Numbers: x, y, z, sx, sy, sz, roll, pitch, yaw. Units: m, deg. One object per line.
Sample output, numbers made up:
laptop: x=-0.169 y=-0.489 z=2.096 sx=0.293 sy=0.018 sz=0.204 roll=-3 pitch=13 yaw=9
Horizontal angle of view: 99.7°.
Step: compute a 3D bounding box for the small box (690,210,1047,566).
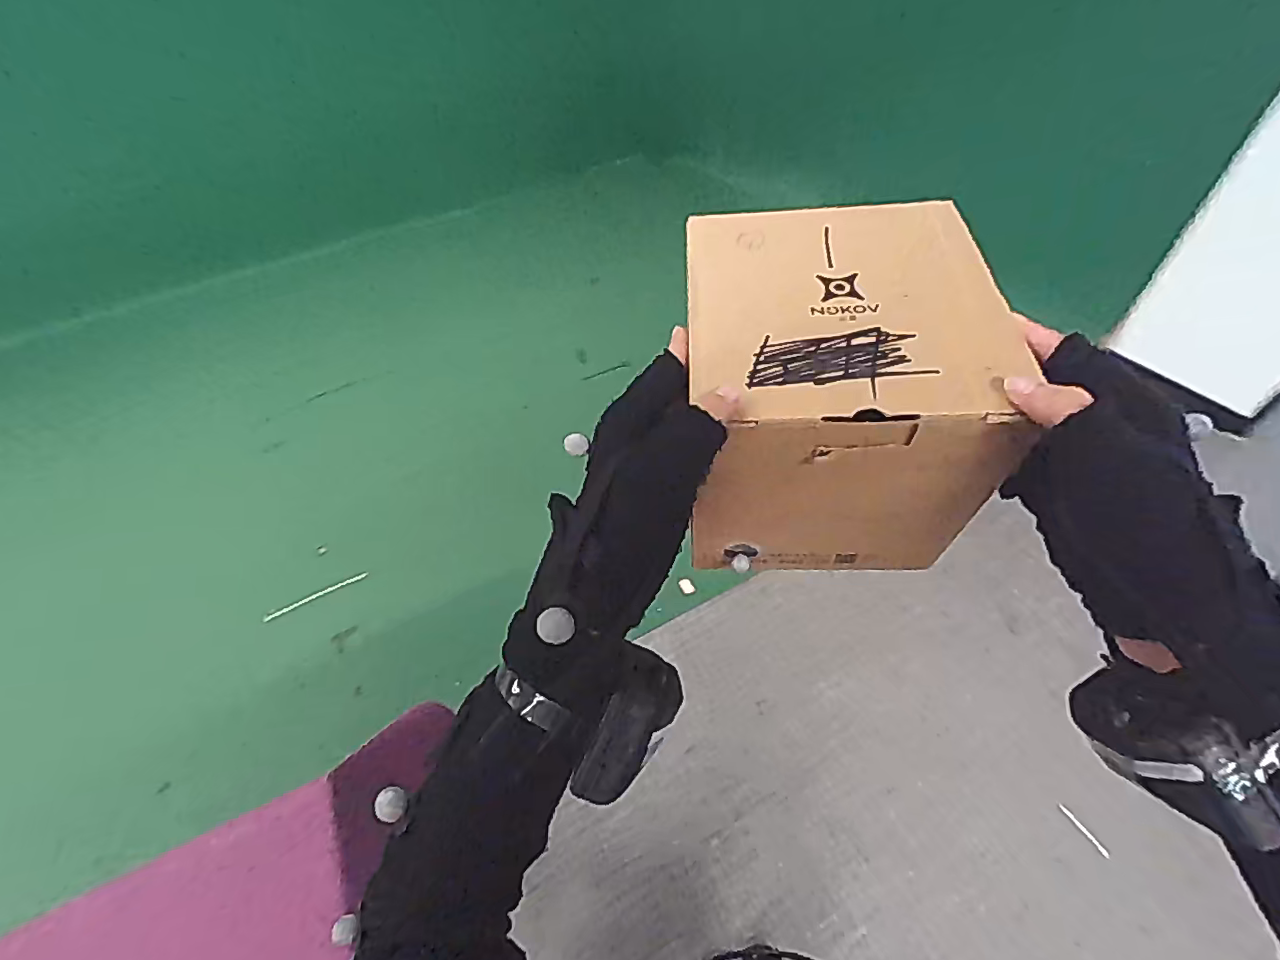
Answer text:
small box: x=0.120 y=-0.053 z=0.368 sx=0.168 sy=0.176 sz=0.179 roll=0 pitch=55 yaw=6
